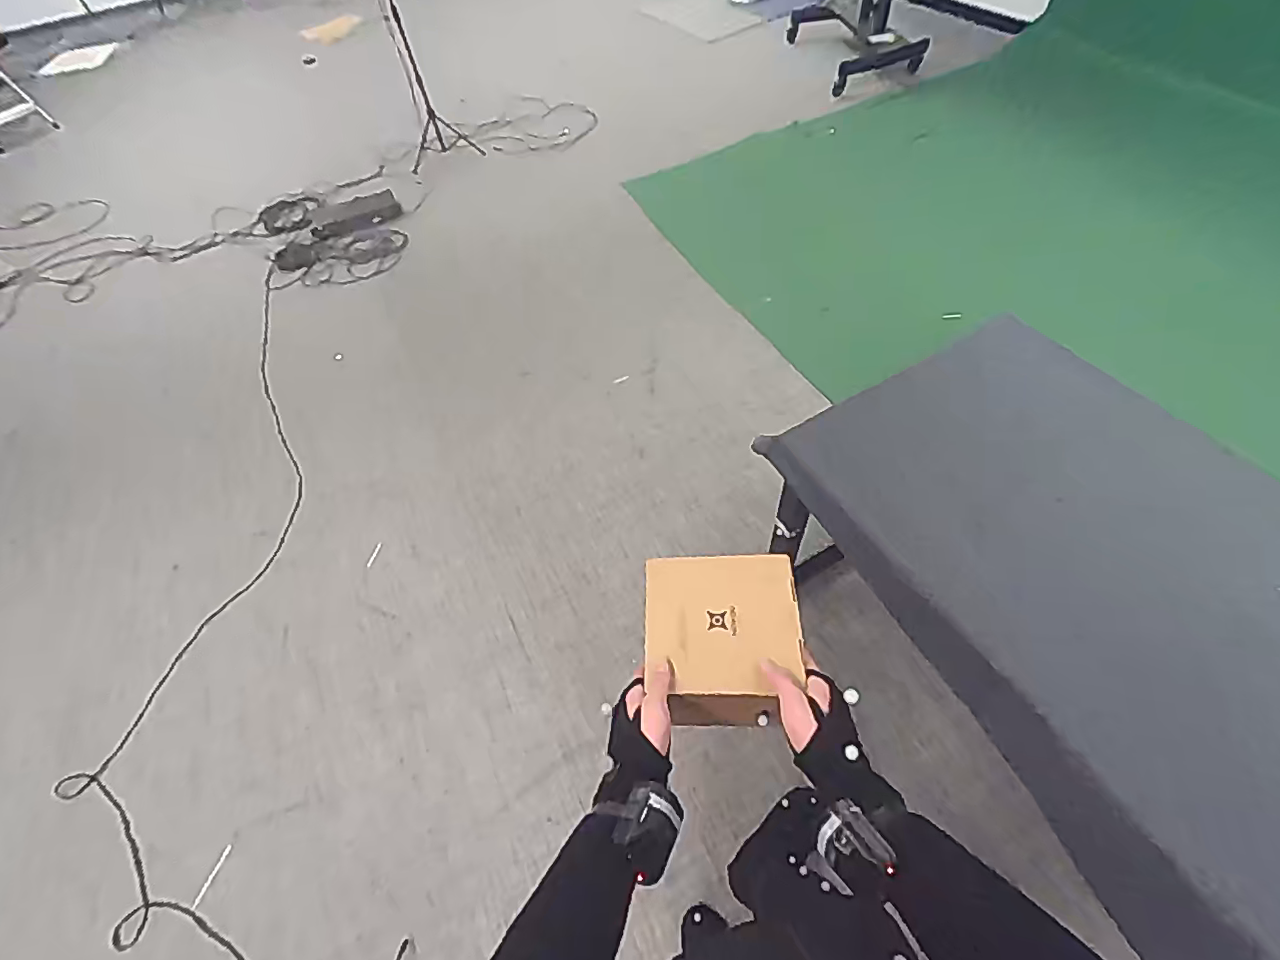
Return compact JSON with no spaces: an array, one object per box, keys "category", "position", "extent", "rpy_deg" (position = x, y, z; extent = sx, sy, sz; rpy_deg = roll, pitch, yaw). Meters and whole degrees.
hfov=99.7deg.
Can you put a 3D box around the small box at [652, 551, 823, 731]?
[{"category":"small box","position":[0.108,0.201,0.664],"extent":[0.179,0.176,0.168],"rpy_deg":[-3,52,5]}]
